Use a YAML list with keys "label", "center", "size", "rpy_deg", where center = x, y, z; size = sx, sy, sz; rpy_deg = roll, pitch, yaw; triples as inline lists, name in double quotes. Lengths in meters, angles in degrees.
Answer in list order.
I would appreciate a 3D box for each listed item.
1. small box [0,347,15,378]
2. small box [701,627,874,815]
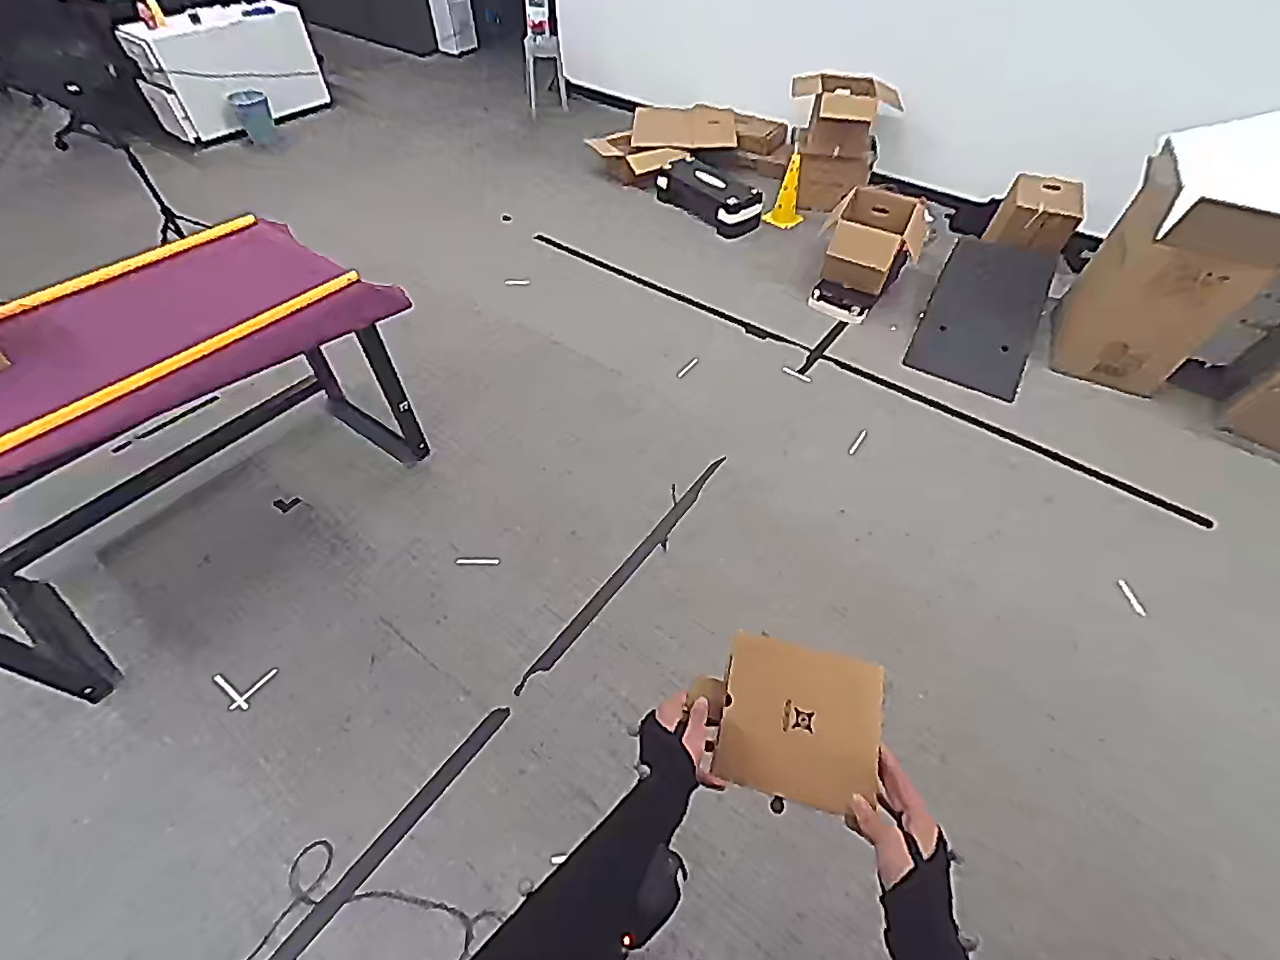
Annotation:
- label: "small box"
  center: [-1.602, -0.308, 1.219]
  size: [0.179, 0.176, 0.168]
  rpy_deg: [33, 58, 20]
- label: "small box"
  center: [0.179, 0.301, 0.684]
  size: [0.179, 0.176, 0.168]
  rpy_deg: [9, 63, 12]
